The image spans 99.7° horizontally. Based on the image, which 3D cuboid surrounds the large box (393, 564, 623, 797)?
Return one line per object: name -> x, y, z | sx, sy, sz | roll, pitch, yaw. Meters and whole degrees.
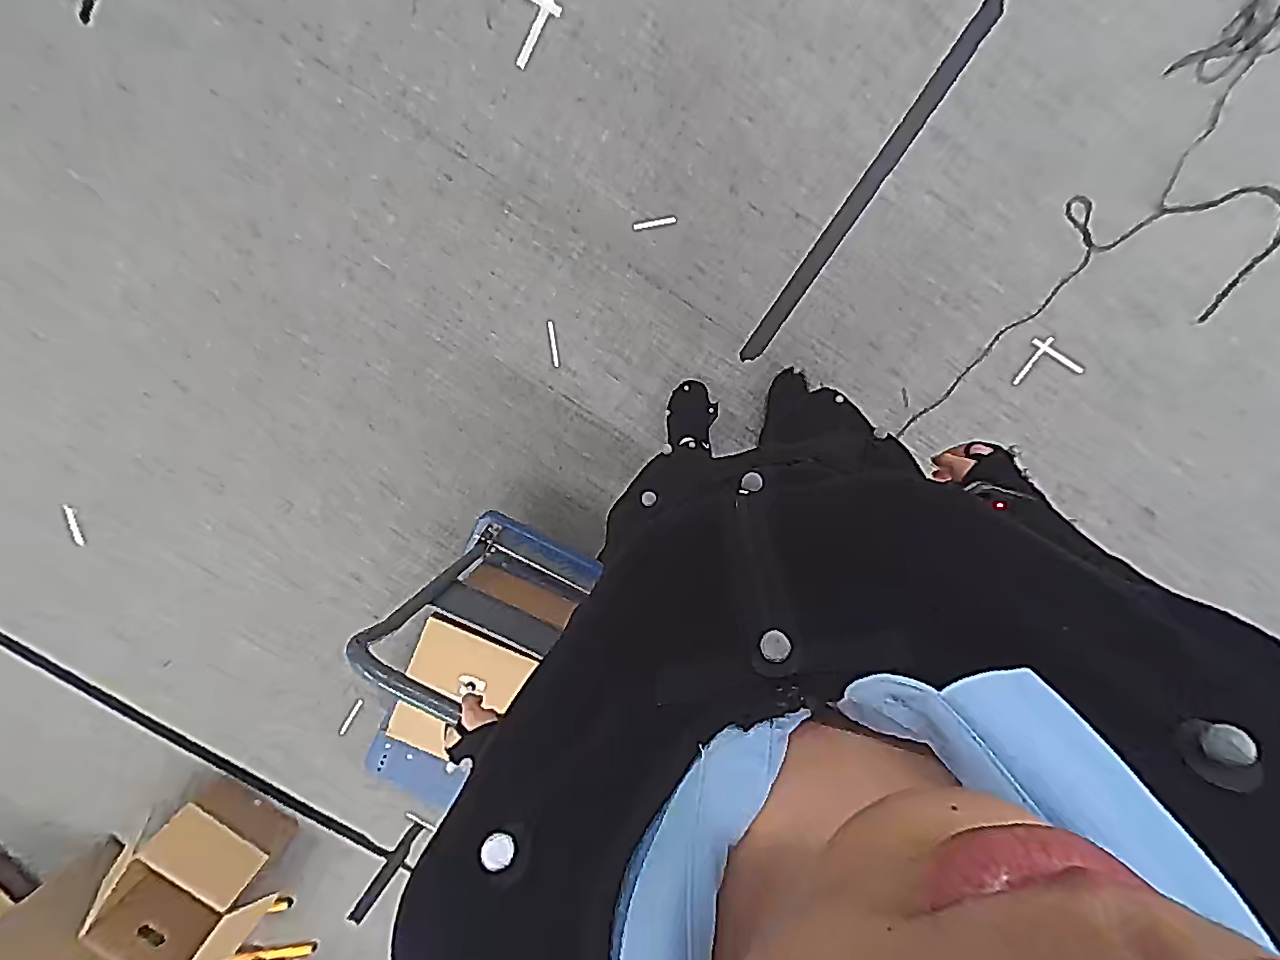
large box -> -0.290, 0.456, 1.295 | 0.408, 0.320, 0.320 | 24, 102, -1
